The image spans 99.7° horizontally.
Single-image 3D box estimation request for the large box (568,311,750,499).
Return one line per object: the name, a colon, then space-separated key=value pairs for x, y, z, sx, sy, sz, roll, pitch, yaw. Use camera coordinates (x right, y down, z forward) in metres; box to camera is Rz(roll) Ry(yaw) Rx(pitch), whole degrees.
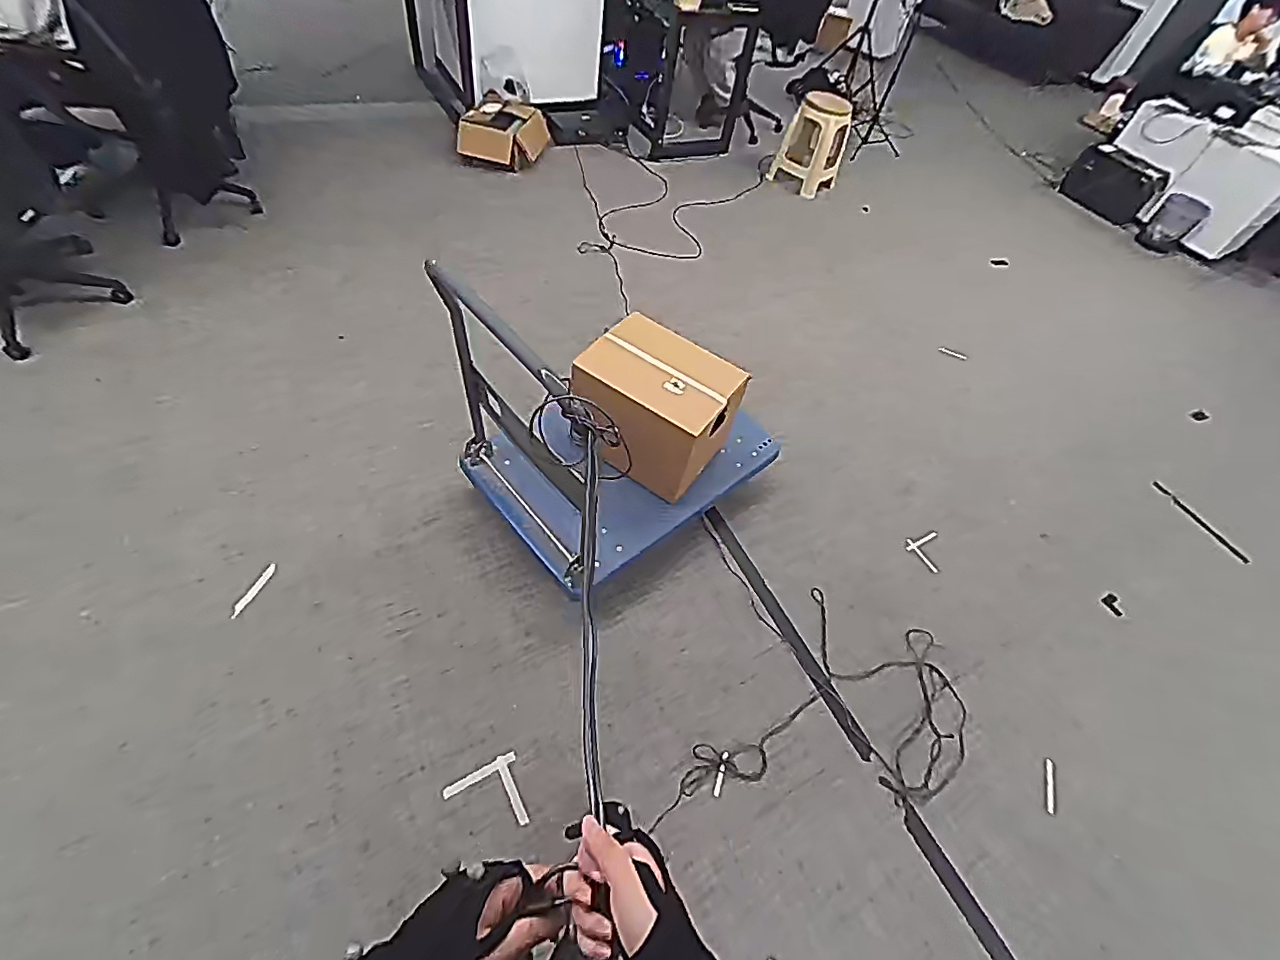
large box: x=0.041 y=-0.220 z=1.594 sx=0.408 sy=0.320 sz=0.320 roll=33 pitch=56 yaw=13
